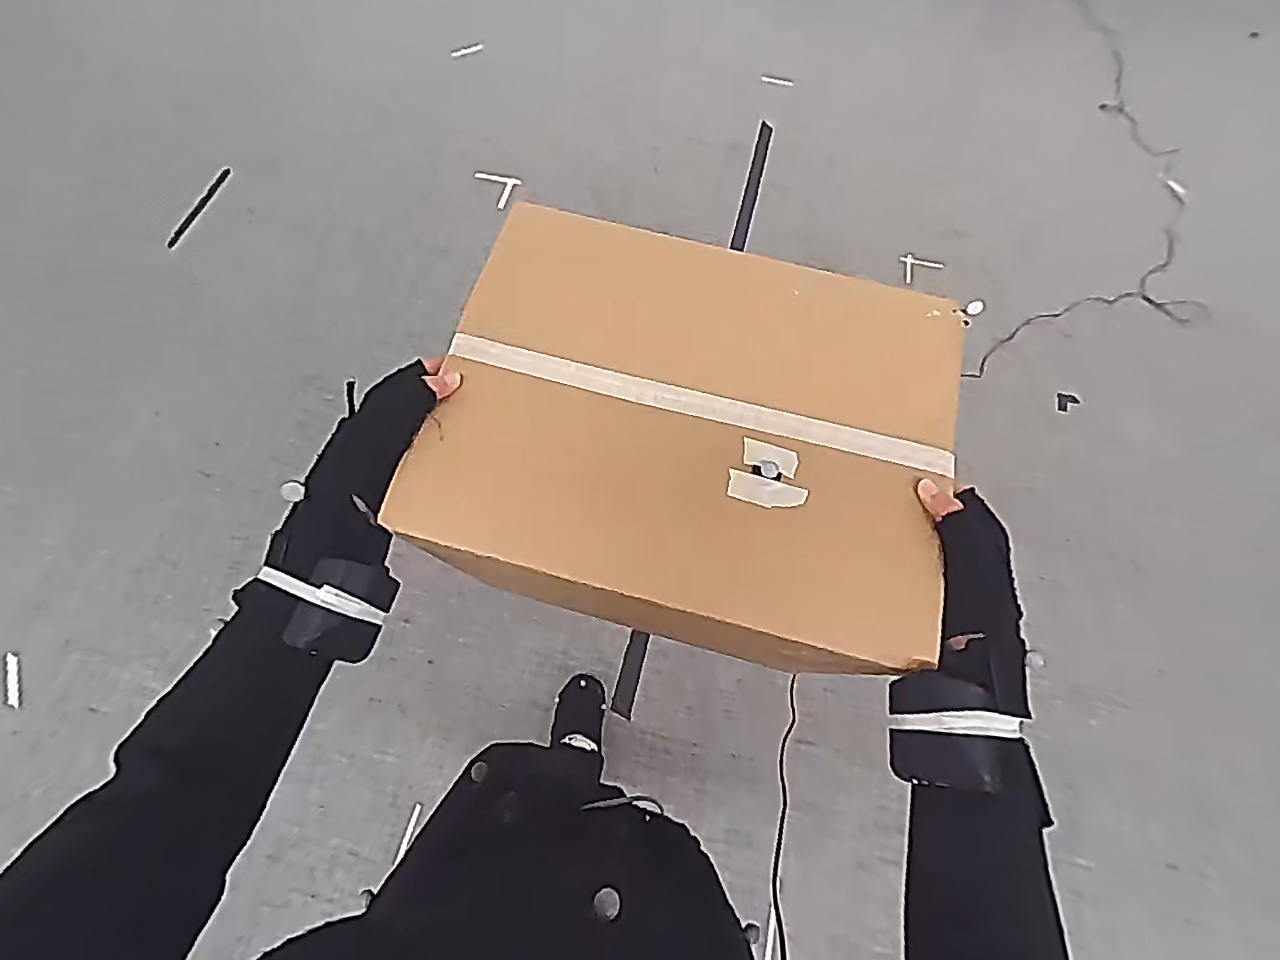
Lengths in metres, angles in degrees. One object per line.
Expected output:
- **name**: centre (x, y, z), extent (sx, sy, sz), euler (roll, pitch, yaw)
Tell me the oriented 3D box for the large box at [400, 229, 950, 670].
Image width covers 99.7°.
- **large box**: centre (0.041, -0.001, 0.580), extent (0.408, 0.320, 0.320), euler (14, 72, 3)
